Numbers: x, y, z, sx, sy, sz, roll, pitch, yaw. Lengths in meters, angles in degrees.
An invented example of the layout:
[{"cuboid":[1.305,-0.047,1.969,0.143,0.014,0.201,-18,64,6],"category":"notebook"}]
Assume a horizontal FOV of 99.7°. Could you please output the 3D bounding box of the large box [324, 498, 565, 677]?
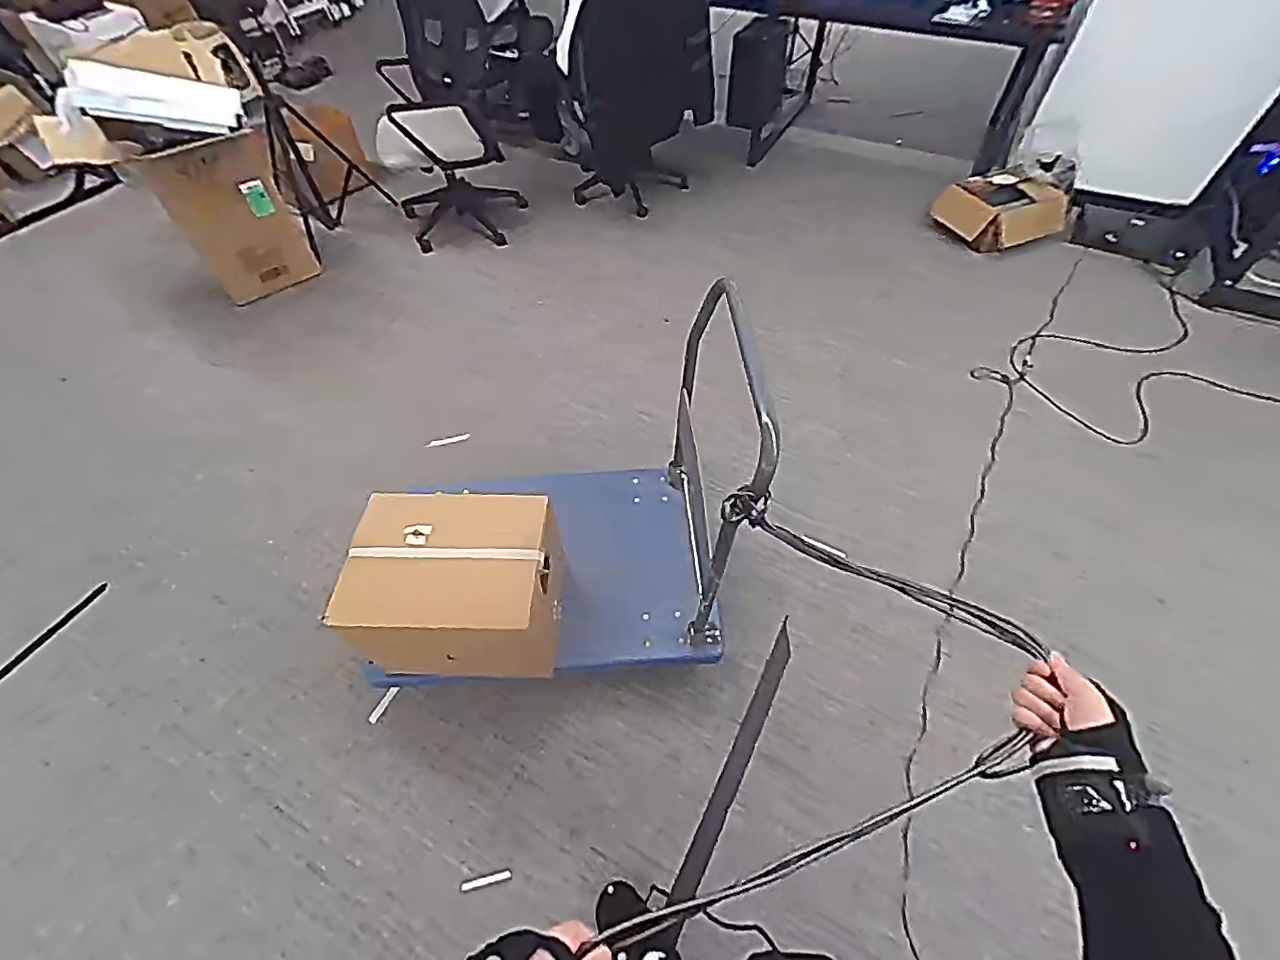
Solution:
[{"cuboid":[-0.401,0.253,1.235,0.408,0.320,0.320,0,53,3],"category":"large box"}]
